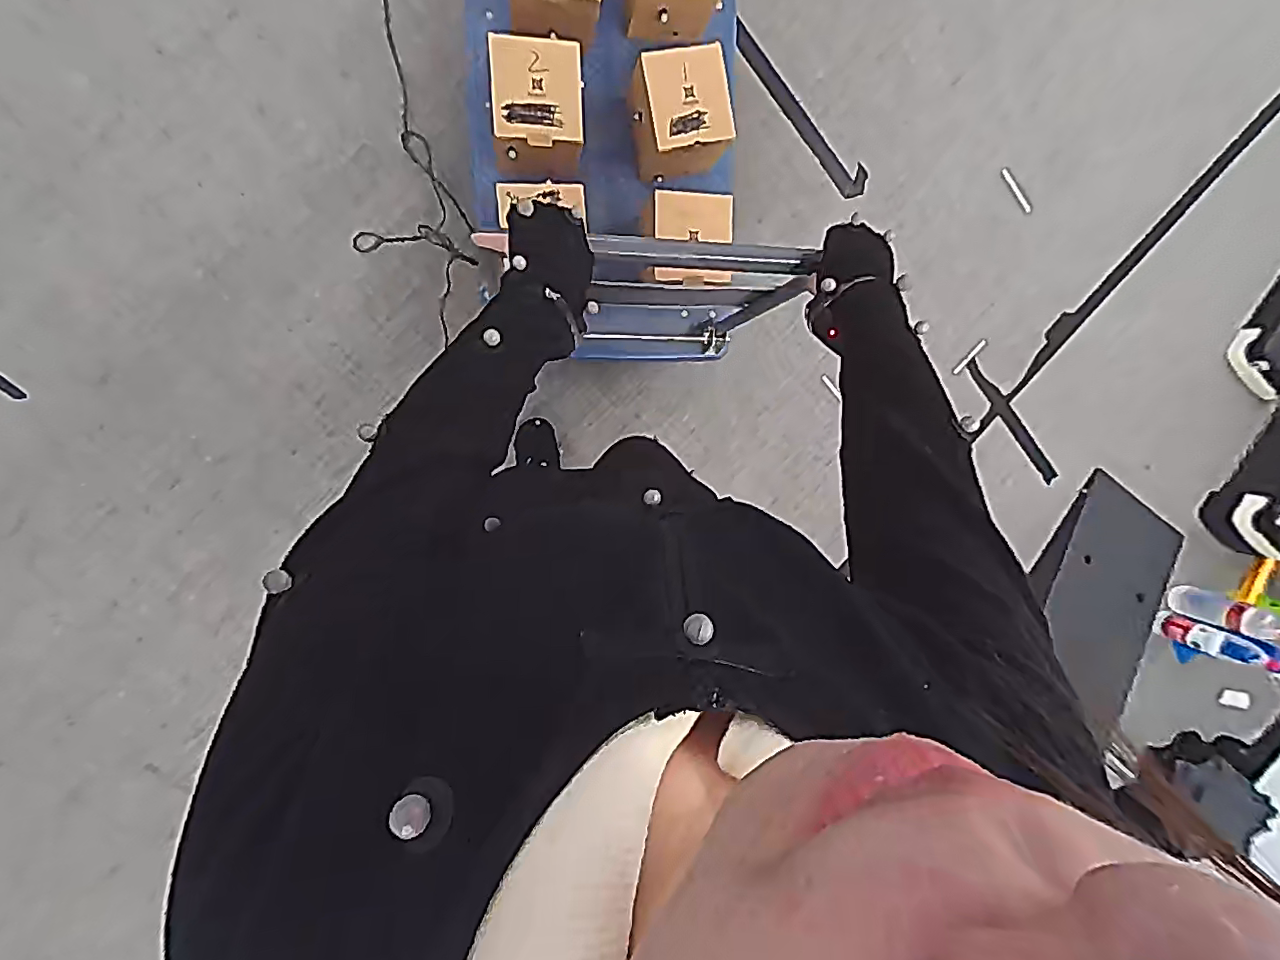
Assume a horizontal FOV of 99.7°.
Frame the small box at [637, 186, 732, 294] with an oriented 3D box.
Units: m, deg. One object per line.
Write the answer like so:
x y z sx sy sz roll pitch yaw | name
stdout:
0.091 -0.508 1.172 0.168 0.176 0.179 -2 99 -12 | small box

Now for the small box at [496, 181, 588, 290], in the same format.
-0.201 -0.492 1.112 0.168 0.176 0.179 -6 100 -12 | small box

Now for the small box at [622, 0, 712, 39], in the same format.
0.057 -1.030 1.083 0.168 0.176 0.179 -5 100 -10 | small box

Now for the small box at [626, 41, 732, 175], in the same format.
0.076 -0.762 1.128 0.168 0.176 0.179 -14 101 -9 | small box

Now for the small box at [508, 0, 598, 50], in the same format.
-0.170 -0.985 1.041 0.168 0.176 0.179 0 100 -11 | small box
